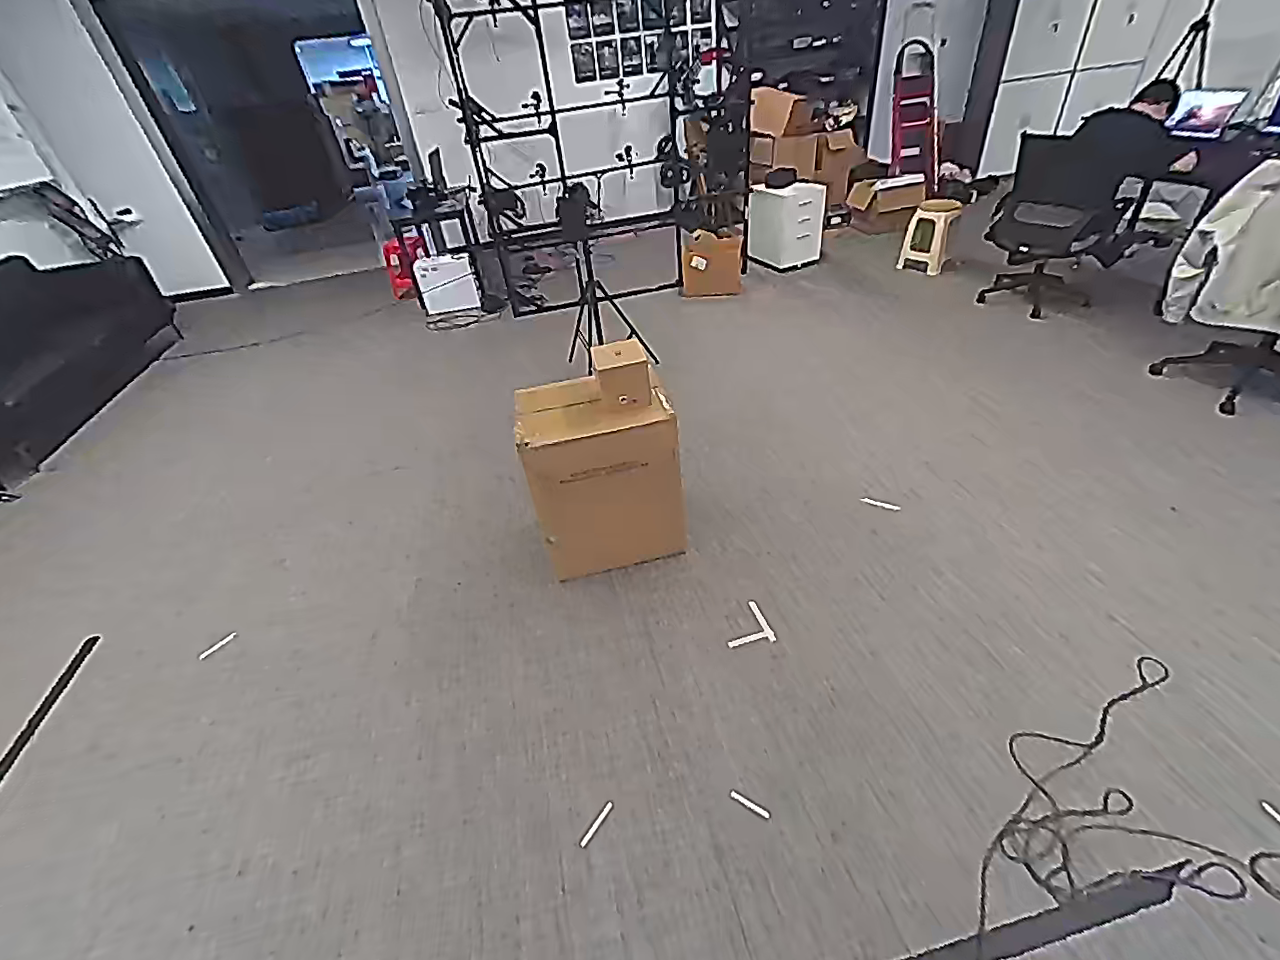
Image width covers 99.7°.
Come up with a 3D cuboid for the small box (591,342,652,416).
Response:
[{"bbox_3d":[-0.063,-0.340,1.828,0.168,0.176,0.179,-14,40,-5],"label":"small box"}]
